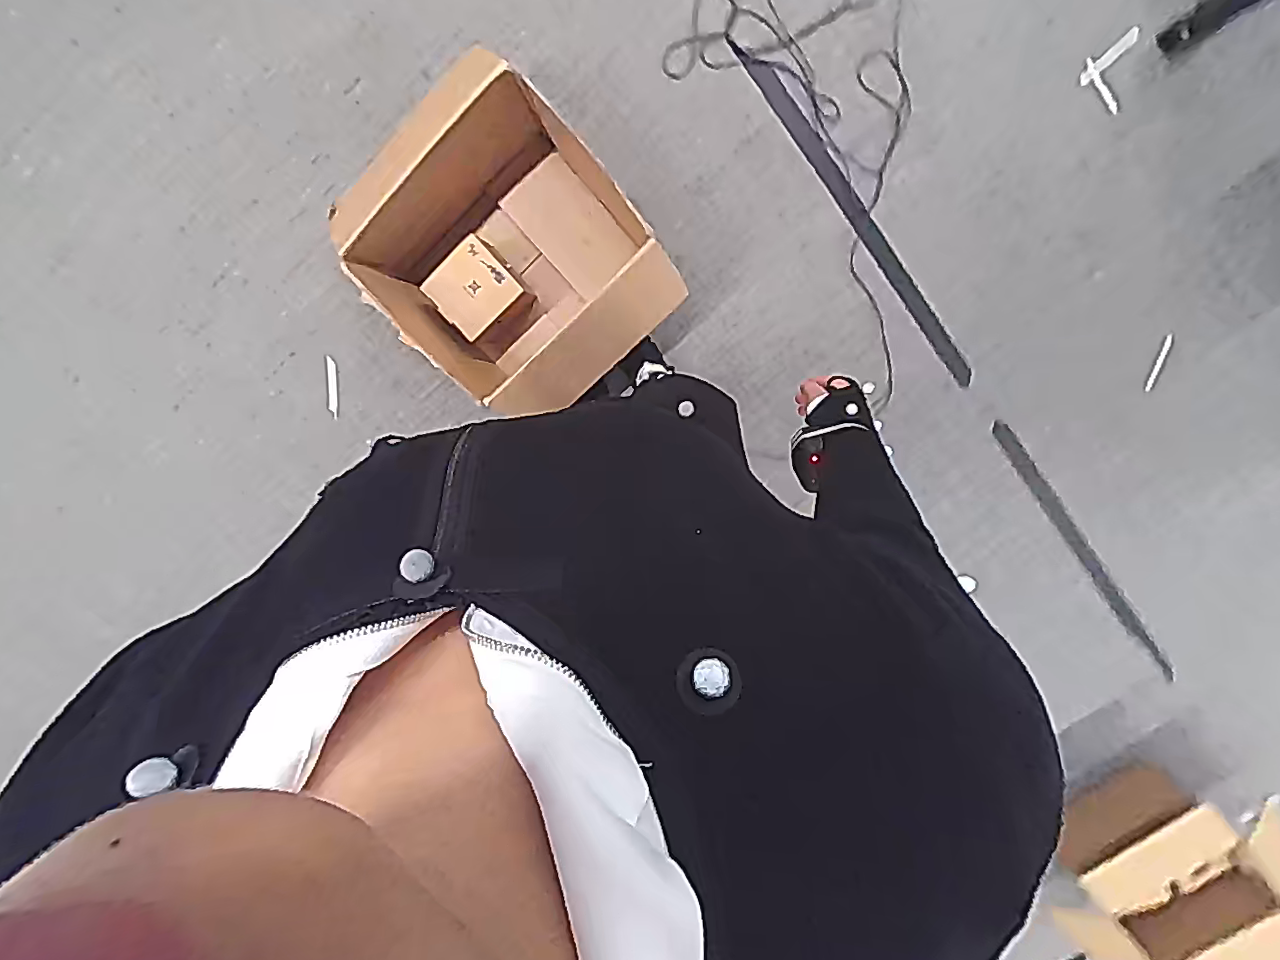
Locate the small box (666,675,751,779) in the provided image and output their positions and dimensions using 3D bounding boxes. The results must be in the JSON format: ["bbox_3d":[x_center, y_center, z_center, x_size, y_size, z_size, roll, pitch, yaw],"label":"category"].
[{"bbox_3d":[0.193,0.709,1.568,0.168,0.176,0.179,-37,100,5],"label":"small box"}]
